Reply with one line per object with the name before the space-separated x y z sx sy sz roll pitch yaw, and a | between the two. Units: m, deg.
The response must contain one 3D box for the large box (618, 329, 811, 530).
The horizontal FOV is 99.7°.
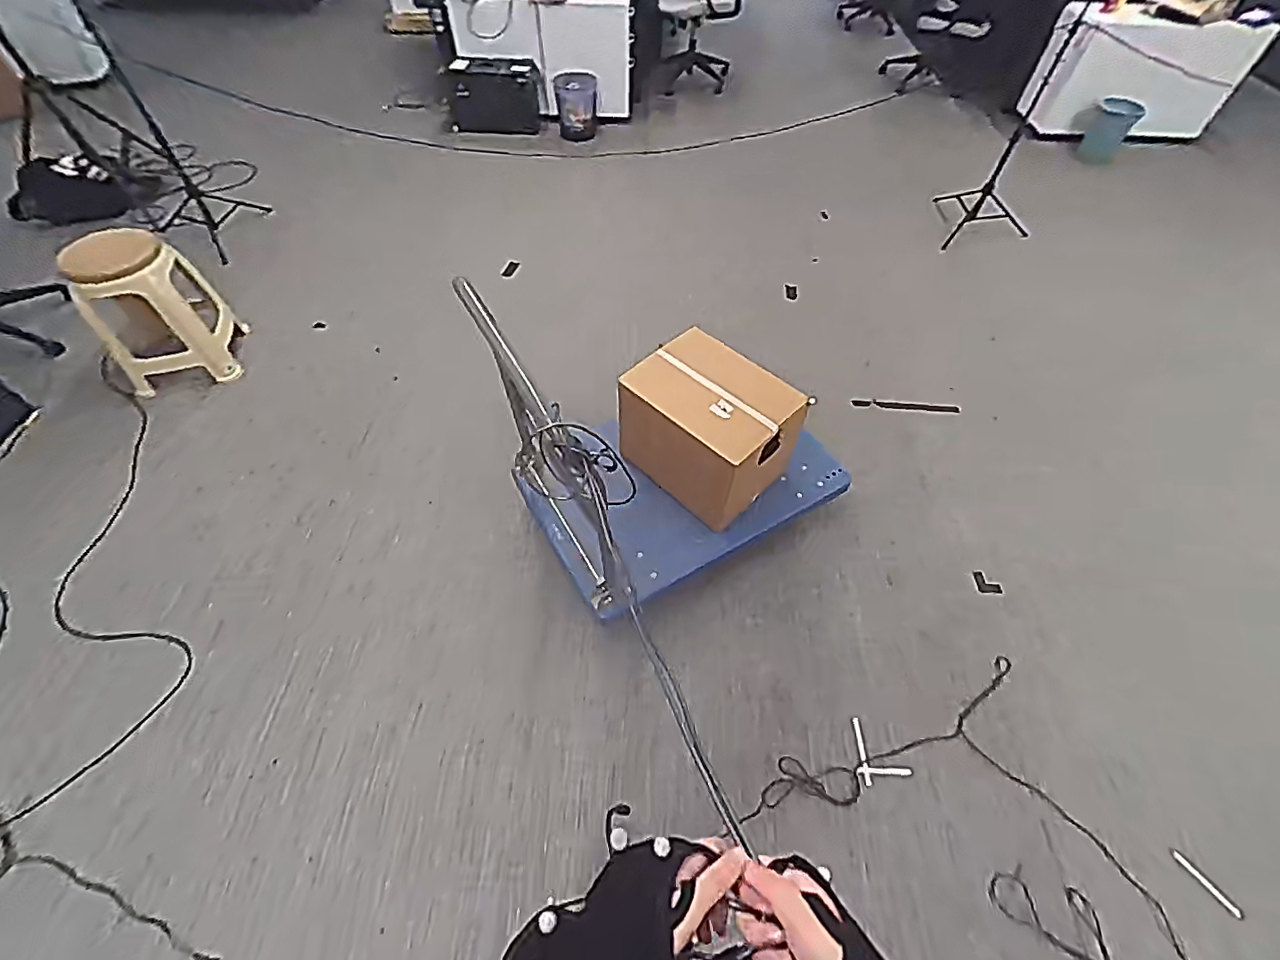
large box | 0.183 -0.142 1.505 0.408 0.320 0.320 39 63 23
